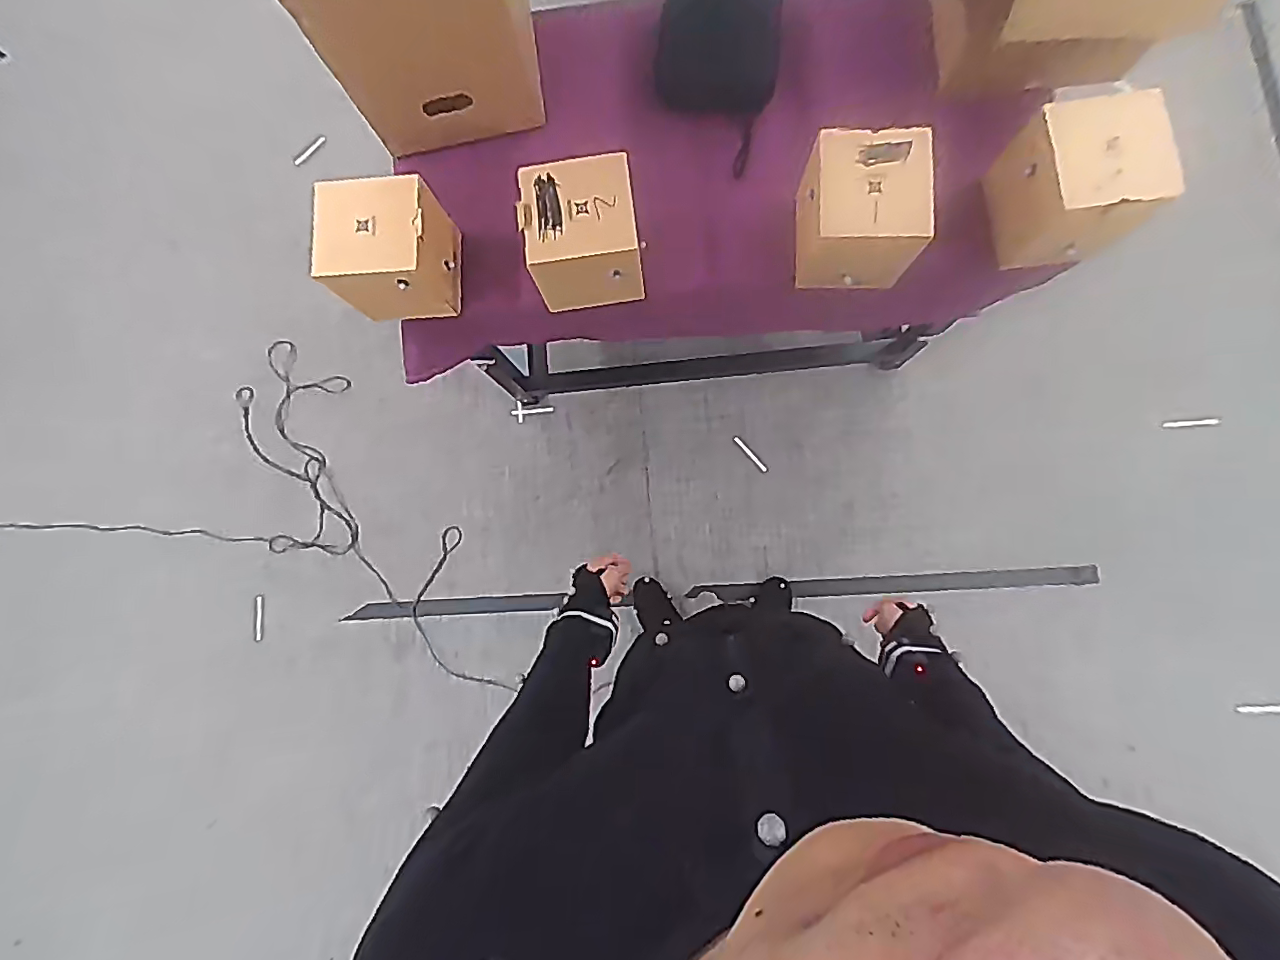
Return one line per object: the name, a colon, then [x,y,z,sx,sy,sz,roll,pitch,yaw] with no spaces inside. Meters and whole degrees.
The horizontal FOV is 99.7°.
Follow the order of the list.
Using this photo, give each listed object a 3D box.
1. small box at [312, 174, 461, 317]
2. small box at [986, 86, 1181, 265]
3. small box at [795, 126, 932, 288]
small box: [-0.428,-0.394,0.937,0.179,0.176,0.168,-3,83,3]
small box: [0.683,-0.471,0.859,0.168,0.176,0.179,-5,83,5]
small box: [0.353,-0.436,0.882,0.168,0.176,0.179,2,85,5]
